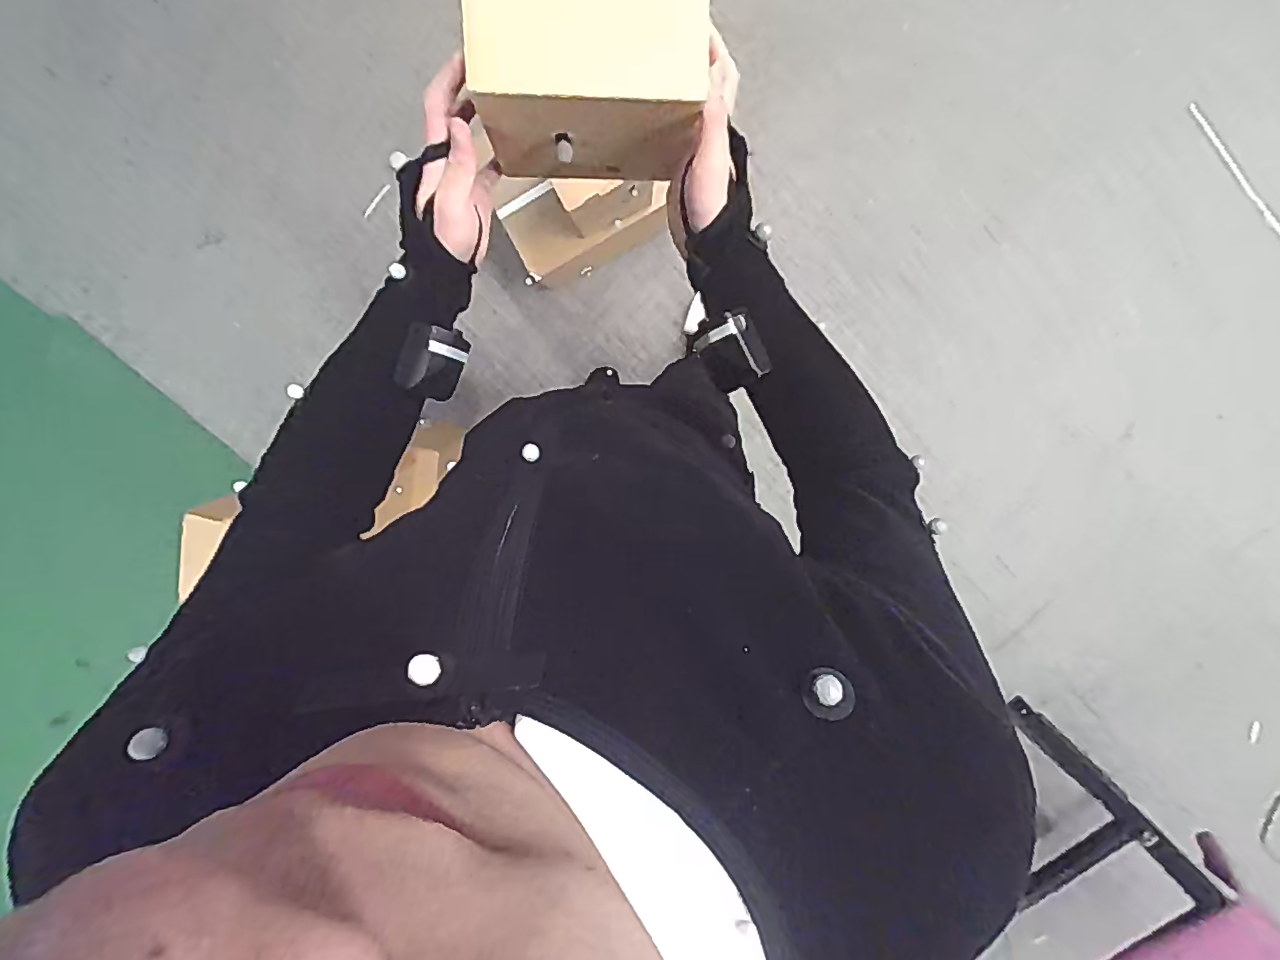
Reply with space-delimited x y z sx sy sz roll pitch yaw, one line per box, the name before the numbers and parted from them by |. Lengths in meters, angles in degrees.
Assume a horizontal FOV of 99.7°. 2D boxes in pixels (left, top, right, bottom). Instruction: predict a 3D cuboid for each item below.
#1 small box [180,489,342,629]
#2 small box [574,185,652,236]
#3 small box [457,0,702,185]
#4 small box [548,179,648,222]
small box | -0.659 0.130 0.959 0.168 0.176 0.179 16 104 -3
small box | -0.087 -0.619 1.086 0.168 0.176 0.179 -25 105 8
small box | -0.043 -0.355 0.432 0.168 0.176 0.179 -1 100 -4
small box | -0.088 -0.568 0.931 0.168 0.176 0.179 -27 104 7
